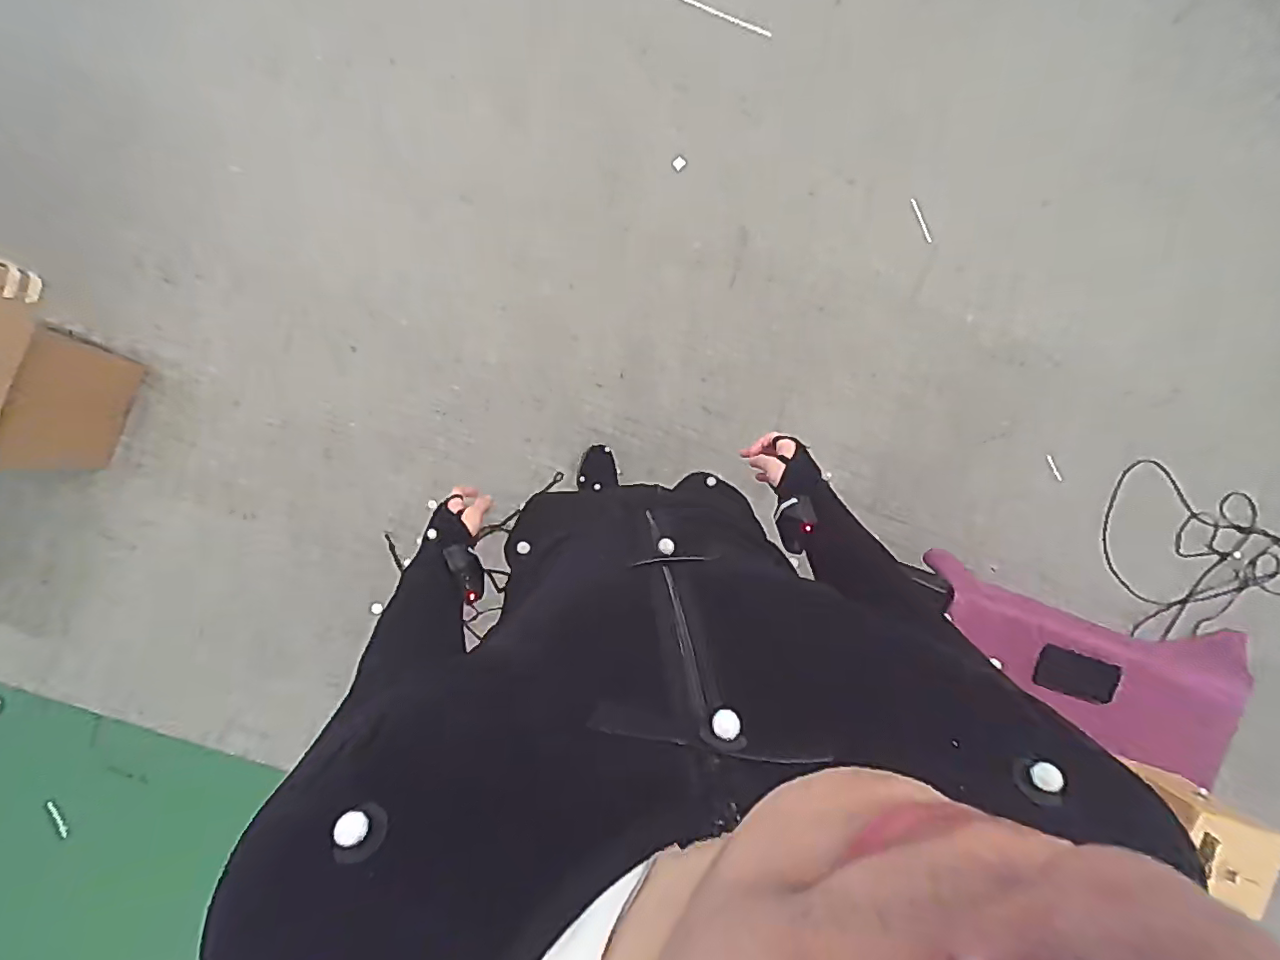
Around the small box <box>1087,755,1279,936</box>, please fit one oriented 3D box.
[{"bbox_3d":[0.910,0.593,0.902,0.179,0.176,0.168,19,92,-4],"label":"small box"}]
